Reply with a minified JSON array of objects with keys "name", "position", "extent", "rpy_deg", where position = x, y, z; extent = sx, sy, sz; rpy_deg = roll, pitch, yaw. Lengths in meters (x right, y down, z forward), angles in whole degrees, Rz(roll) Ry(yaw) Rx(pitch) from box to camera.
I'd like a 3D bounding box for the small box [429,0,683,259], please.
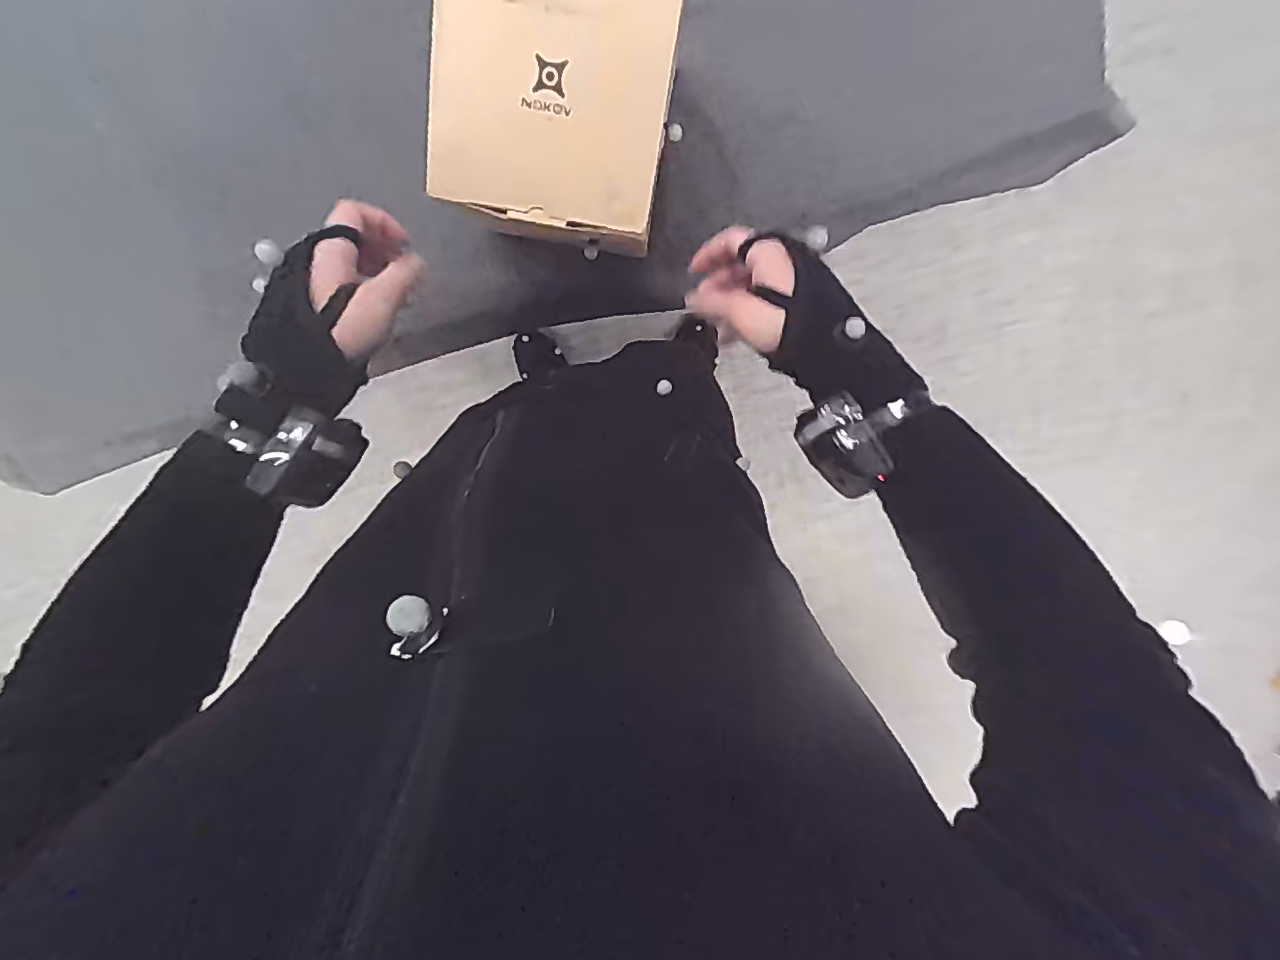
[{"name":"small box","position":[-0.062,-0.293,0.452],"extent":[0.168,0.176,0.179],"rpy_deg":[8,106,-3]}]
